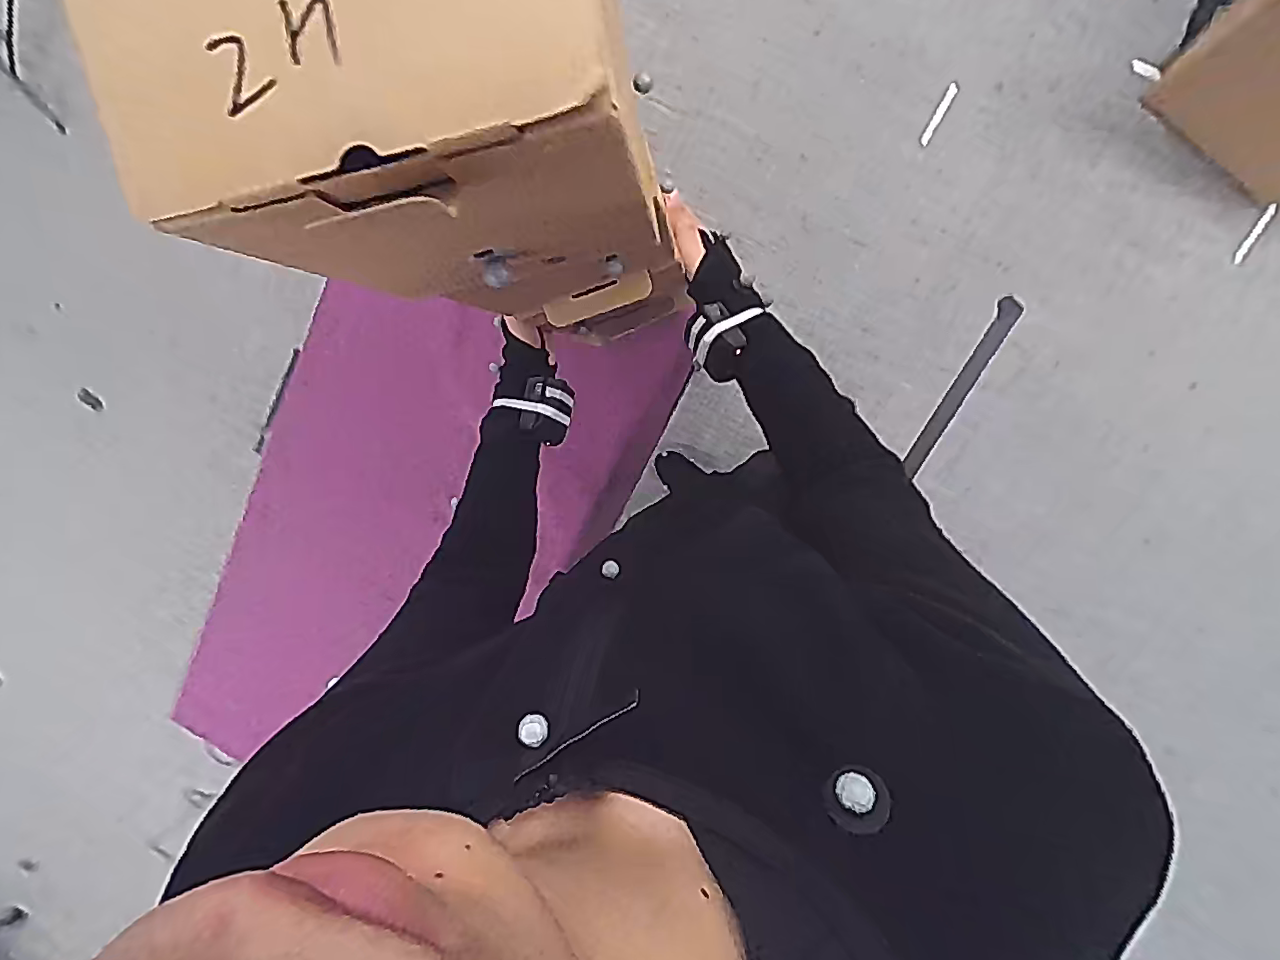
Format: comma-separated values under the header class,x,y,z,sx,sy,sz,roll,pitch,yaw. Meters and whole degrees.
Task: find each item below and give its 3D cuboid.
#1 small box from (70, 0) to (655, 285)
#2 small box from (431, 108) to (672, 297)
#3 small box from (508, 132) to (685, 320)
class,x,y,z,sx,sy,sz,roll,pitch,yaw
small box,-0.091,-0.200,0.233,0.168,0.176,0.179,-8,100,9
small box,-0.078,-0.243,0.392,0.168,0.176,0.179,-15,98,9
small box,-0.055,-0.272,0.551,0.168,0.176,0.179,-16,98,10
